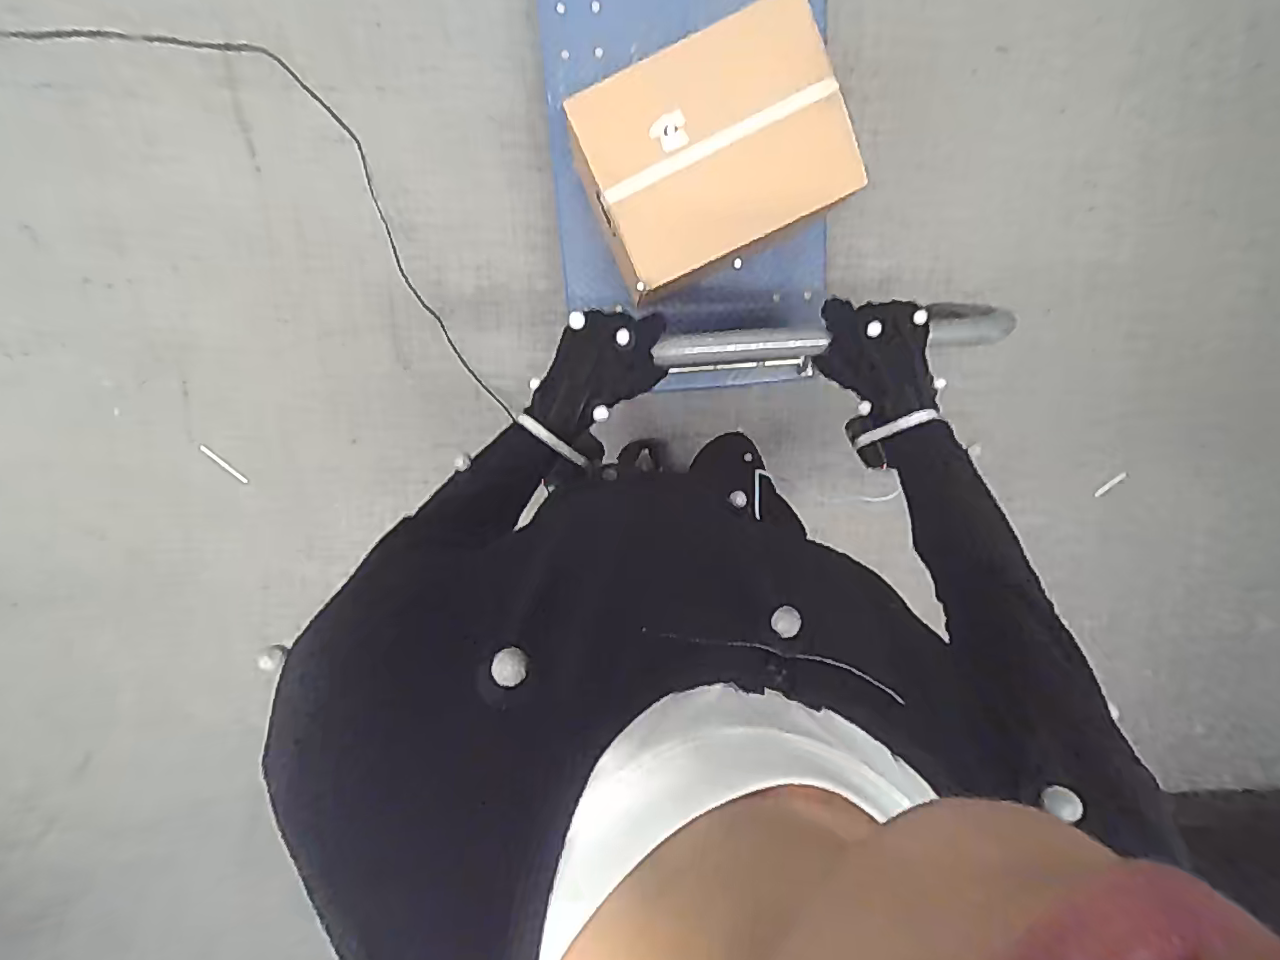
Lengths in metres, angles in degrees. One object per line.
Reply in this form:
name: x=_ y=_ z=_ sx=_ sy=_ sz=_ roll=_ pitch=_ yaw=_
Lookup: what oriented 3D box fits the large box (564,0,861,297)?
large box: x=0.117 y=-0.579 z=1.001 sx=0.408 sy=0.320 sz=0.320 roll=-24 pitch=102 yaw=4
